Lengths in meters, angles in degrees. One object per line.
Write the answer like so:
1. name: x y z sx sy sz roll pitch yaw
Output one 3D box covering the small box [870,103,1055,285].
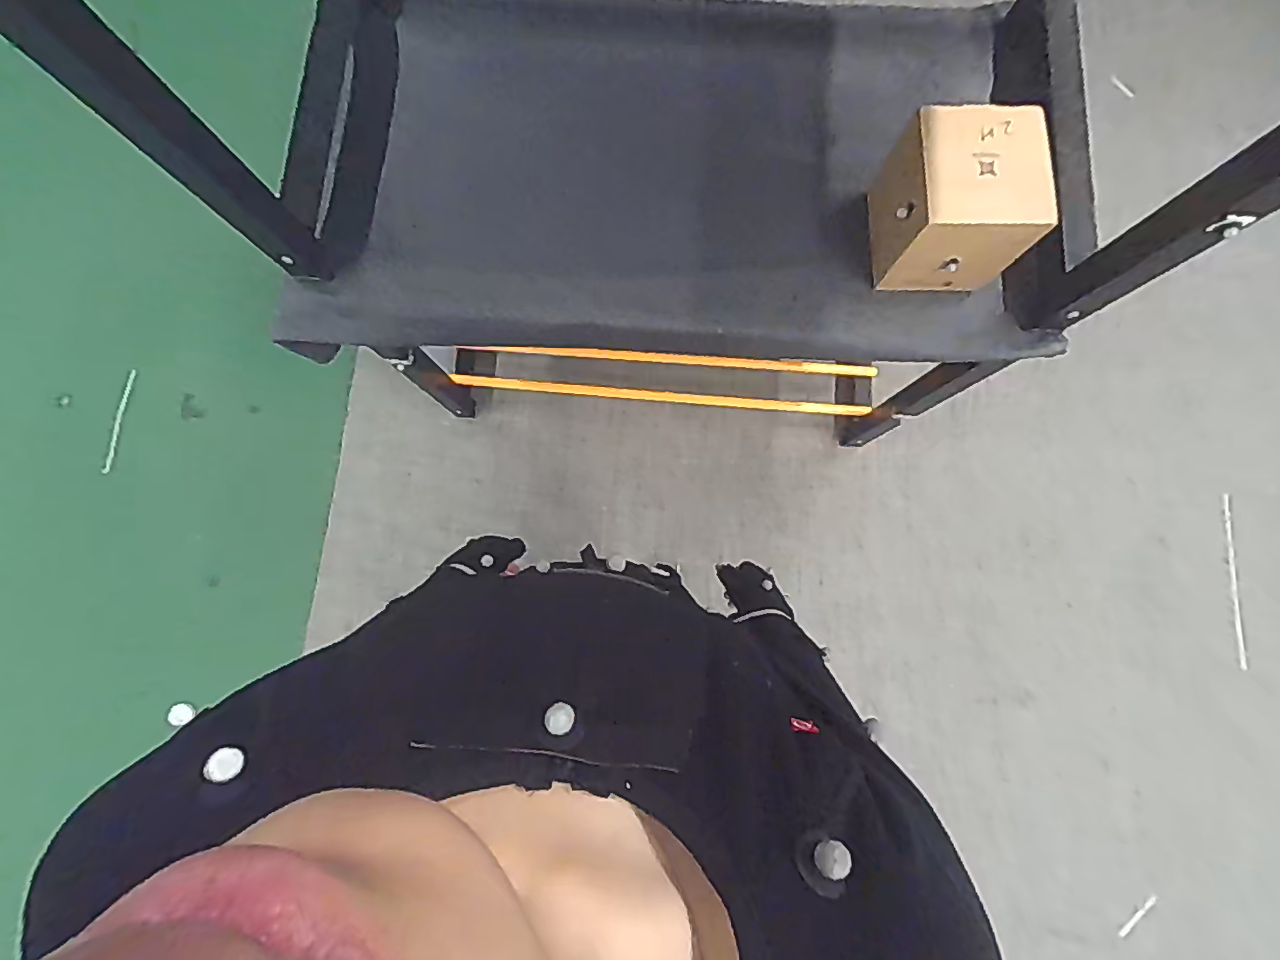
1. small box: 0.449 -0.400 0.780 0.168 0.176 0.179 1 80 0
